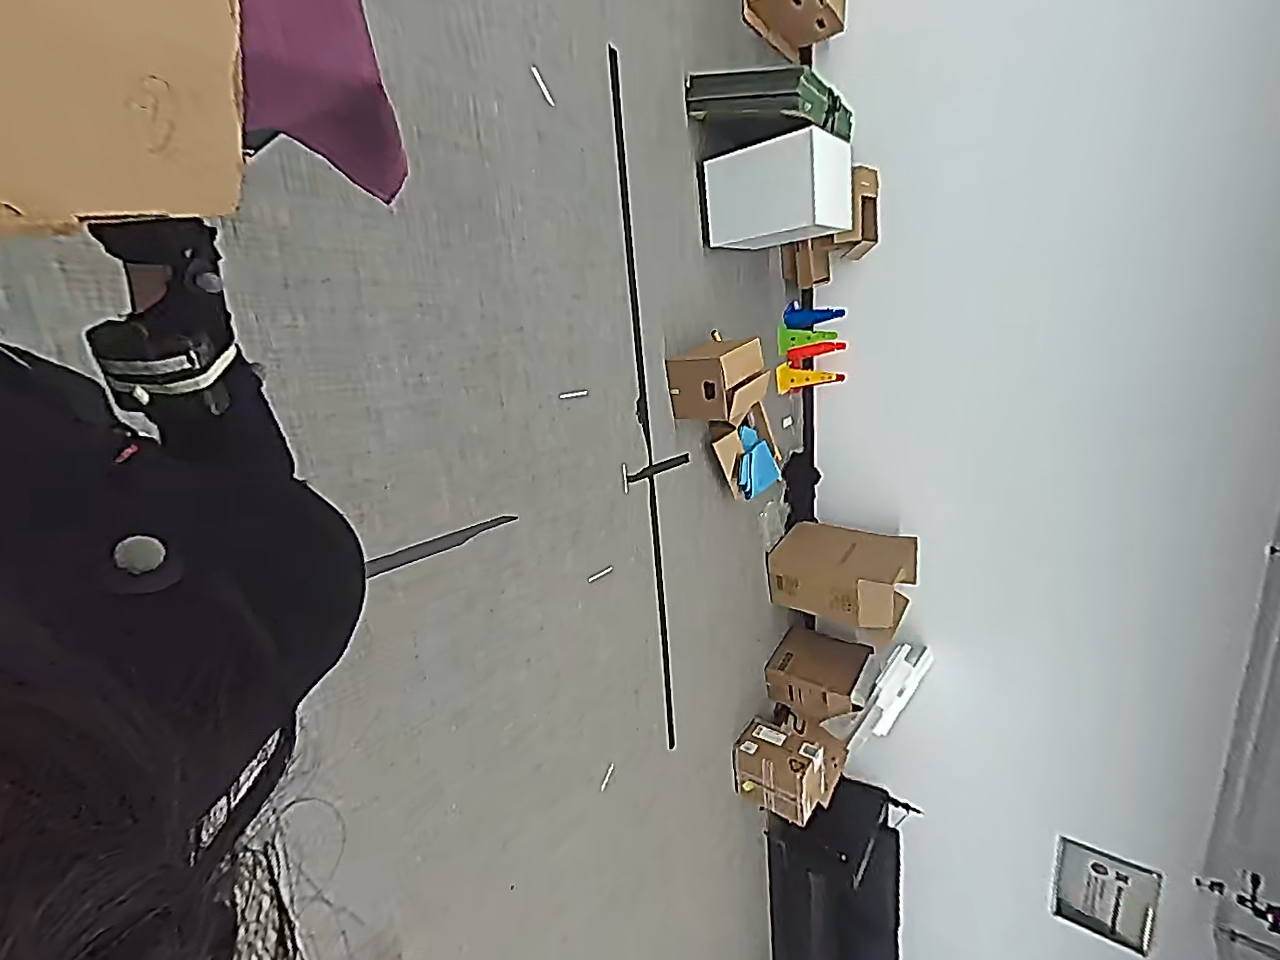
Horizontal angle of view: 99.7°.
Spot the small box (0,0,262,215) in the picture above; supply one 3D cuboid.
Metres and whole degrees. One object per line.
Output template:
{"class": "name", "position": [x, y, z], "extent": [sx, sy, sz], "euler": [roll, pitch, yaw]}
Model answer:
{"class": "small box", "position": [-0.233, -0.191, 0.132], "extent": [0.179, 0.176, 0.168], "euler": [-58, 176, 34]}
